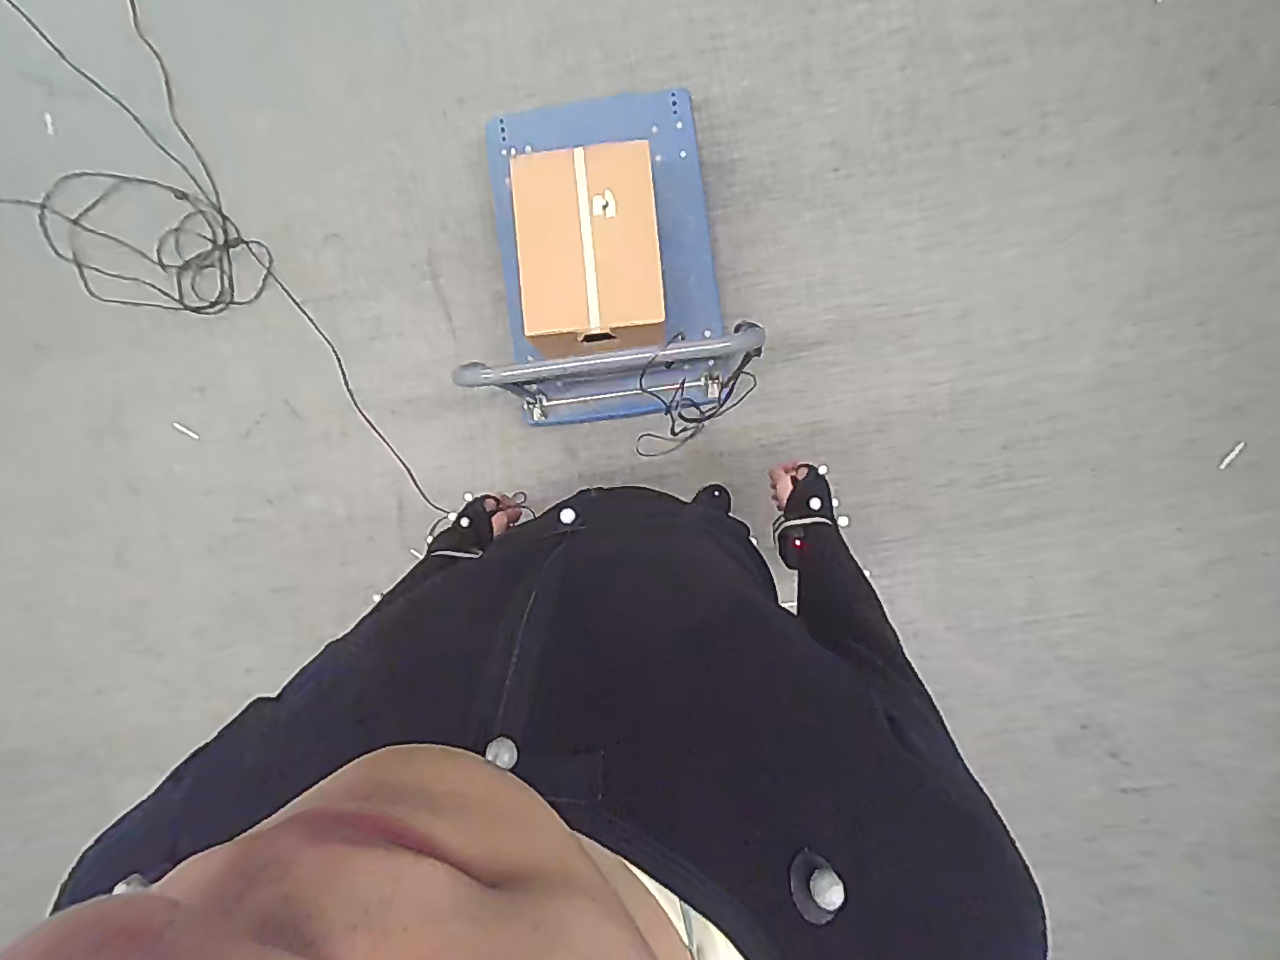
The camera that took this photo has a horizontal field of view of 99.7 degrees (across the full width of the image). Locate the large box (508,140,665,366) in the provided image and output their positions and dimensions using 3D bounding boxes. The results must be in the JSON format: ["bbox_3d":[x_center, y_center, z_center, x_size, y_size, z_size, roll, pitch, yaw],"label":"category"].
[{"bbox_3d":[-0.111,-0.523,1.319,0.320,0.320,0.408,-5,89,1],"label":"large box"}]
